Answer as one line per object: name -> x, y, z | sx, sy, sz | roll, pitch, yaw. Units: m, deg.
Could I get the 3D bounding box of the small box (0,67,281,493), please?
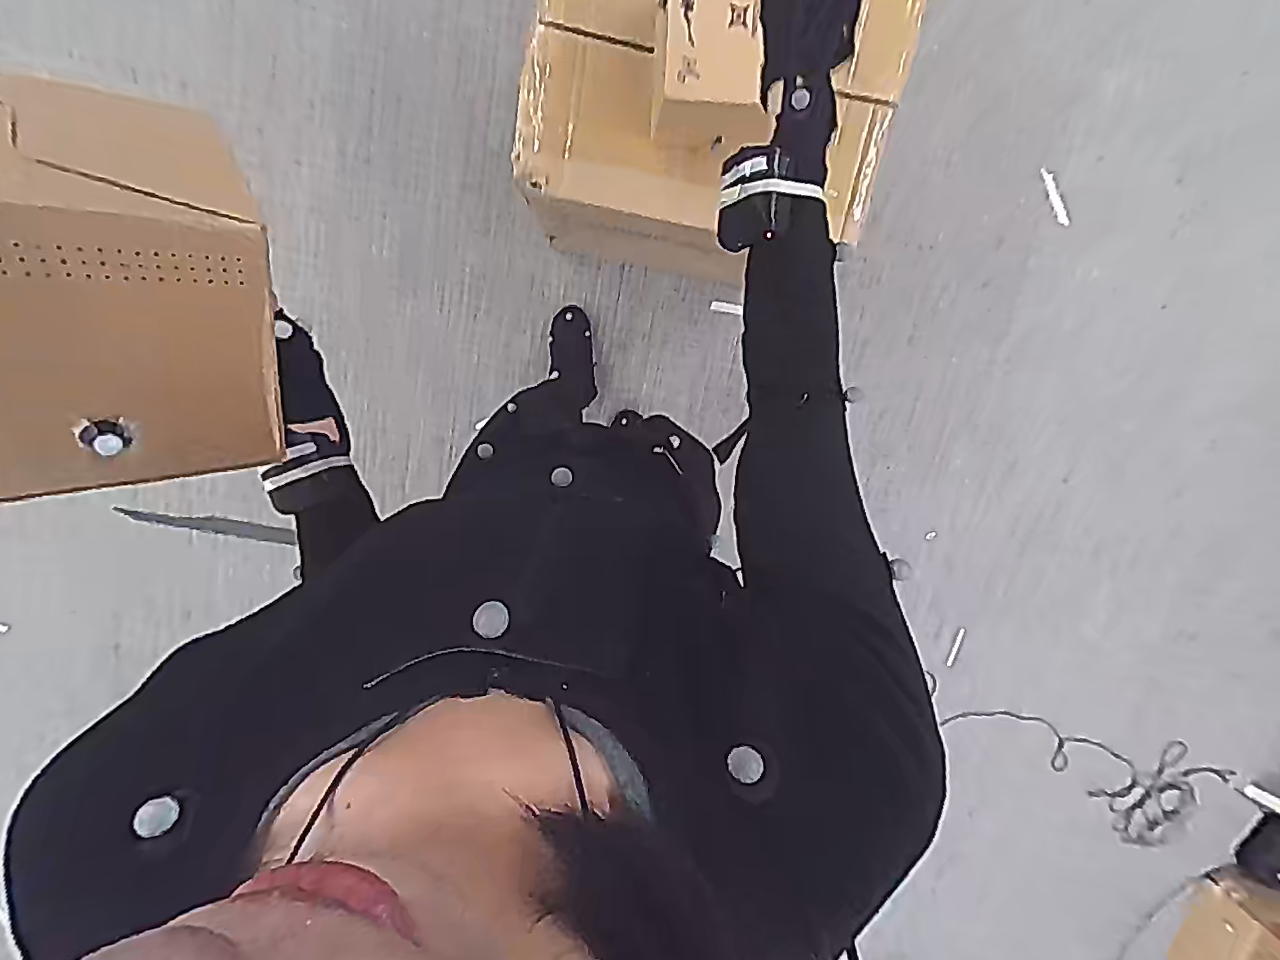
small box -> -0.327, -0.115, 0.303 | 0.179, 0.168, 0.176 | -13, 140, -39

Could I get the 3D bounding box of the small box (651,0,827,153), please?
small box -> 0.112, -0.524, 0.671 | 0.179, 0.176, 0.168 | 1, 106, -5
